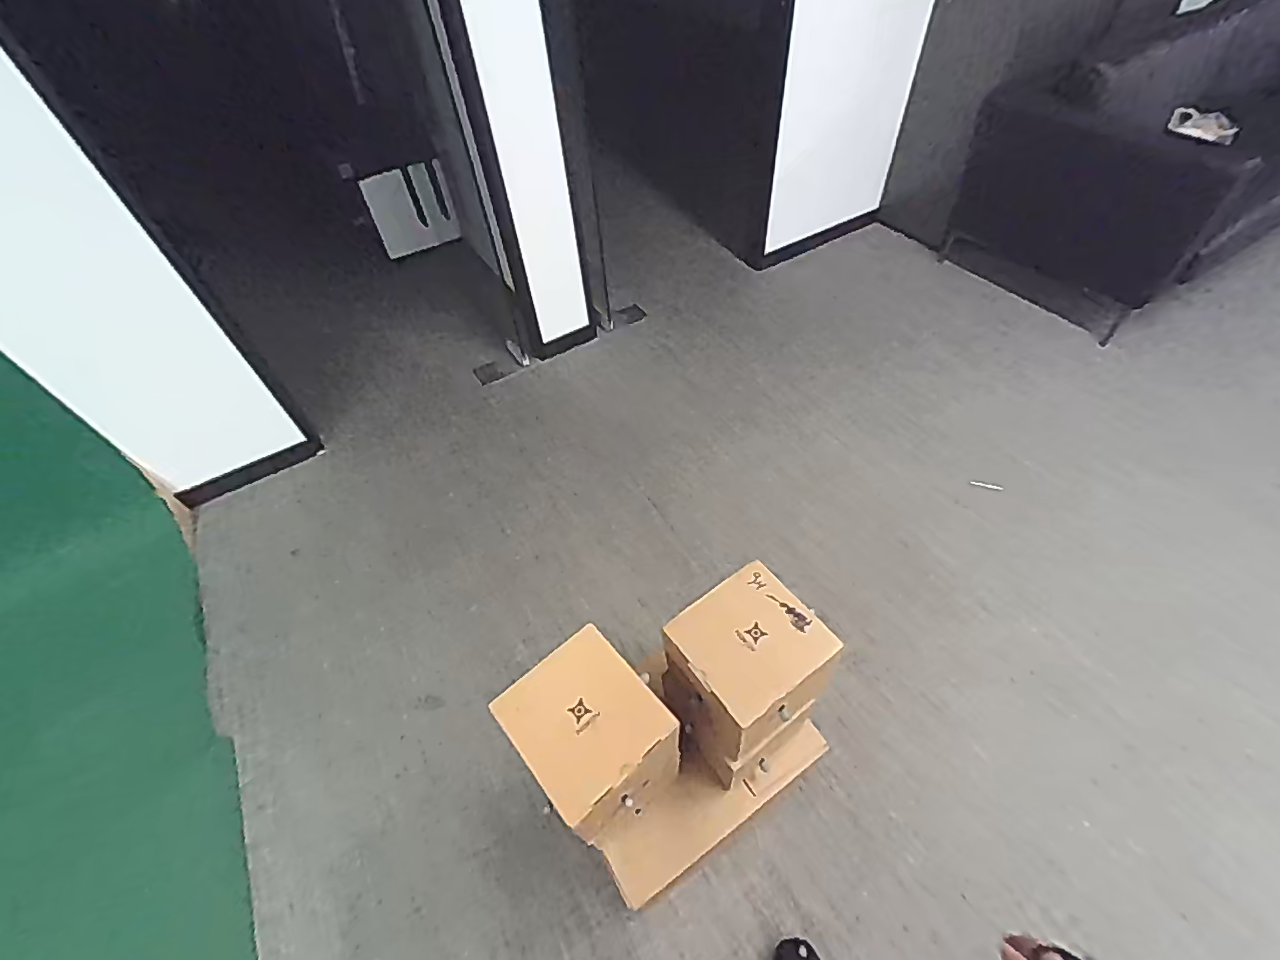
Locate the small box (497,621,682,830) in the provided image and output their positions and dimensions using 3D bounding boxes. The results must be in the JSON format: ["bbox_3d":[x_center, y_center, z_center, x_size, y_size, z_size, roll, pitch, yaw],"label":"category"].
[{"bbox_3d":[-0.063,0.333,0.727,0.168,0.176,0.179,-35,59,-23],"label":"small box"}]
